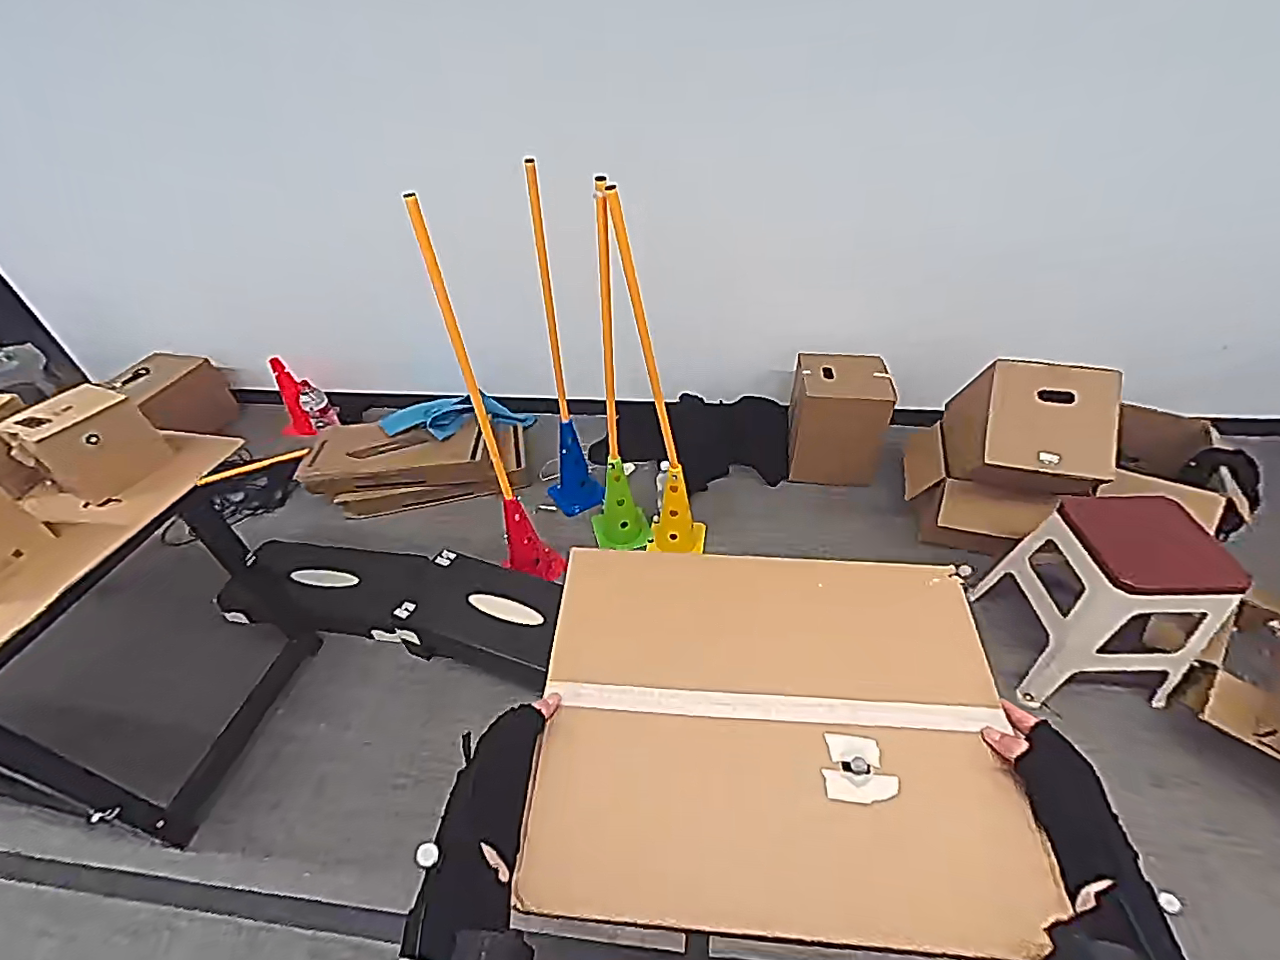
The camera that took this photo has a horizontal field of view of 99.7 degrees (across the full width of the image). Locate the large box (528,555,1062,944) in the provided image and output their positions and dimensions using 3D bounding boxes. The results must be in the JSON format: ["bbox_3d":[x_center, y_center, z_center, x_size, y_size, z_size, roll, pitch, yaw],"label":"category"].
[{"bbox_3d":[0.122,0.302,0.609,0.408,0.320,0.320,3,52,4],"label":"large box"}]
